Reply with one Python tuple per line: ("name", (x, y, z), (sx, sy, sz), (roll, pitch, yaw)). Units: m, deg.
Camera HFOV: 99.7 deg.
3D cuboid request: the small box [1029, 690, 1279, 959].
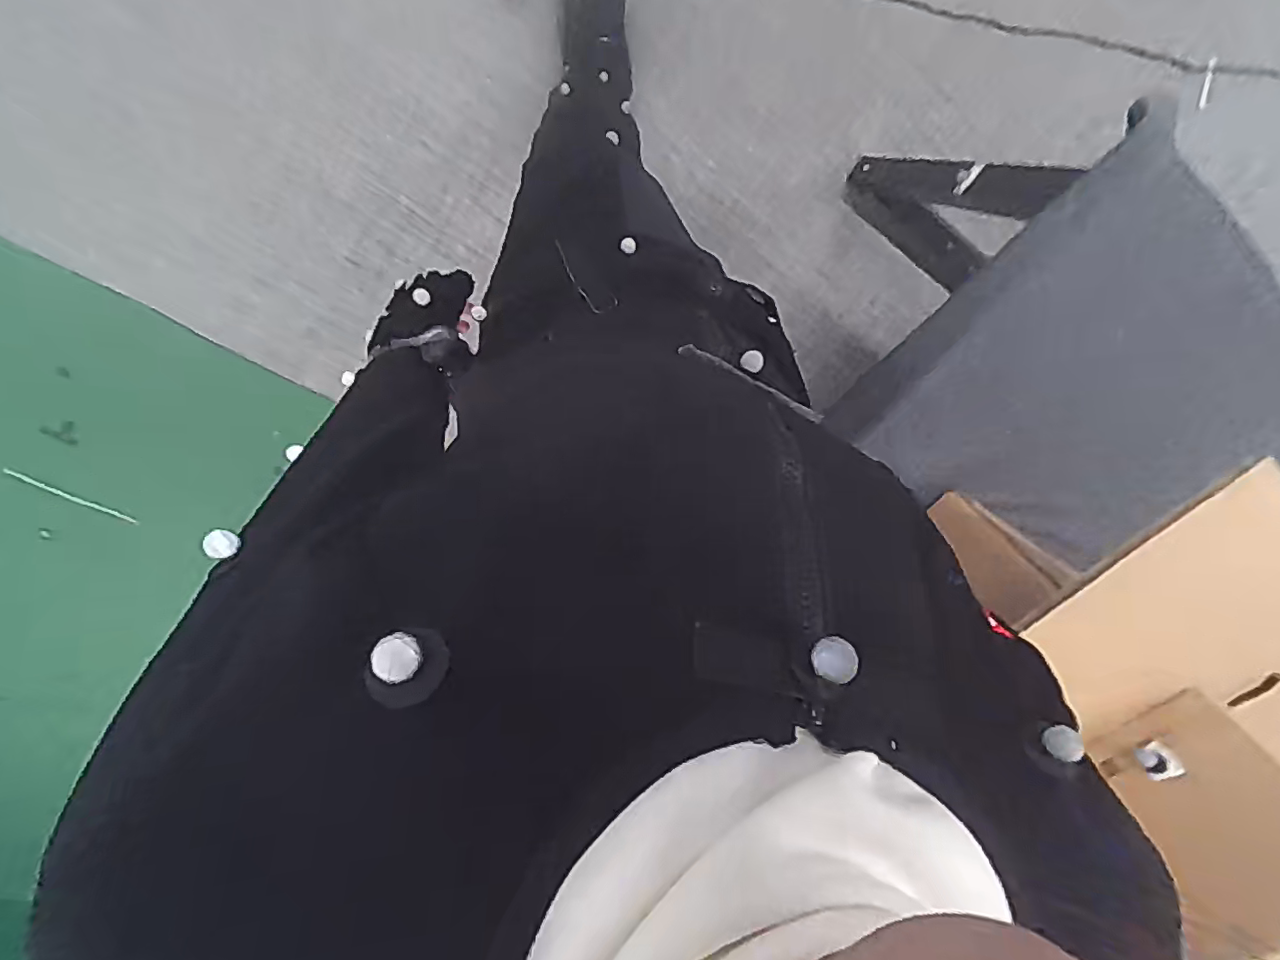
("small box", (0.507, 0.318, 0.476), (0.179, 0.176, 0.168), (30, 115, -18))
